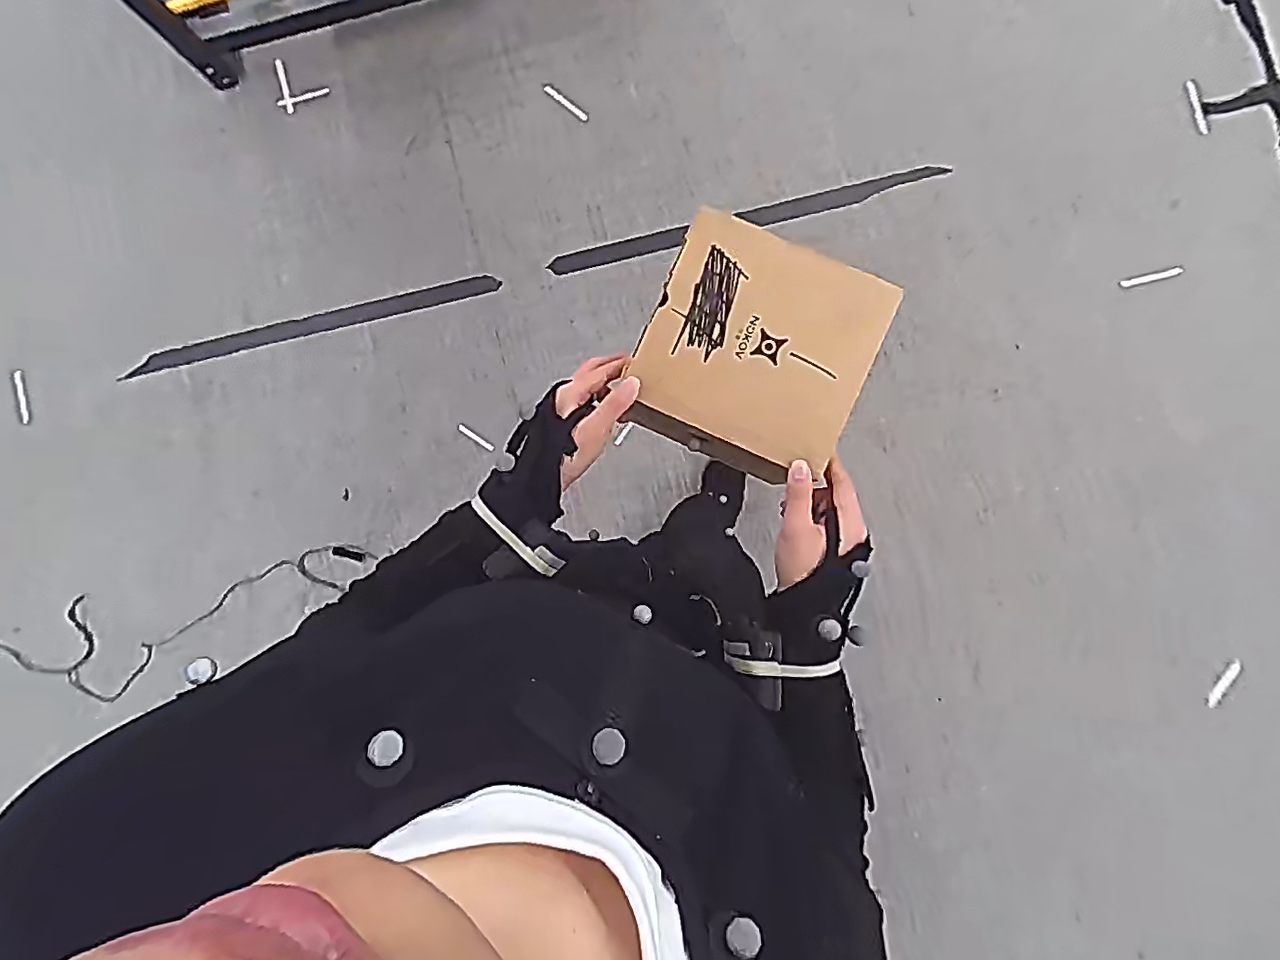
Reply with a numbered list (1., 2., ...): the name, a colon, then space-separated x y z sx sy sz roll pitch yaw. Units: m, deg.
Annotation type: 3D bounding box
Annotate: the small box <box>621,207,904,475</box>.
1. small box: 0.098 -0.108 0.502 0.179 0.176 0.168 24 90 2
